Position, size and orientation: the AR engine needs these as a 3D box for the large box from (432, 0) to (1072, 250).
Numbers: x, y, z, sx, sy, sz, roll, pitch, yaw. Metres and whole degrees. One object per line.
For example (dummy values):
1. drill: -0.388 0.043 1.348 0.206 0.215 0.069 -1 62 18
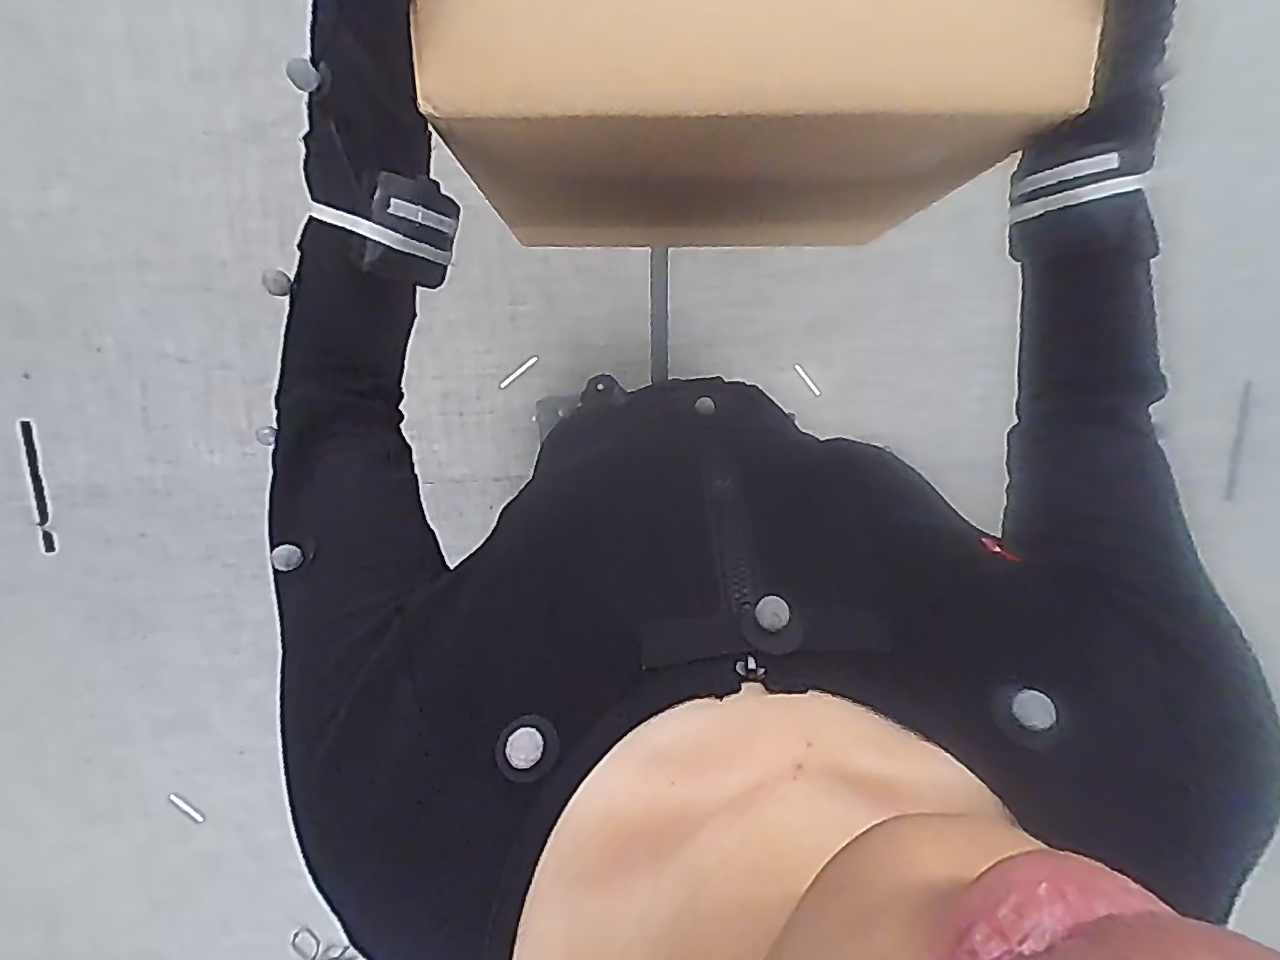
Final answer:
1. large box: 0.063 -0.404 0.466 0.408 0.320 0.320 -1 100 -1

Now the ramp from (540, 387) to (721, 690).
1. ramp: -0.007 0.223 1.627 0.509 0.206 0.991 -4 101 -2
